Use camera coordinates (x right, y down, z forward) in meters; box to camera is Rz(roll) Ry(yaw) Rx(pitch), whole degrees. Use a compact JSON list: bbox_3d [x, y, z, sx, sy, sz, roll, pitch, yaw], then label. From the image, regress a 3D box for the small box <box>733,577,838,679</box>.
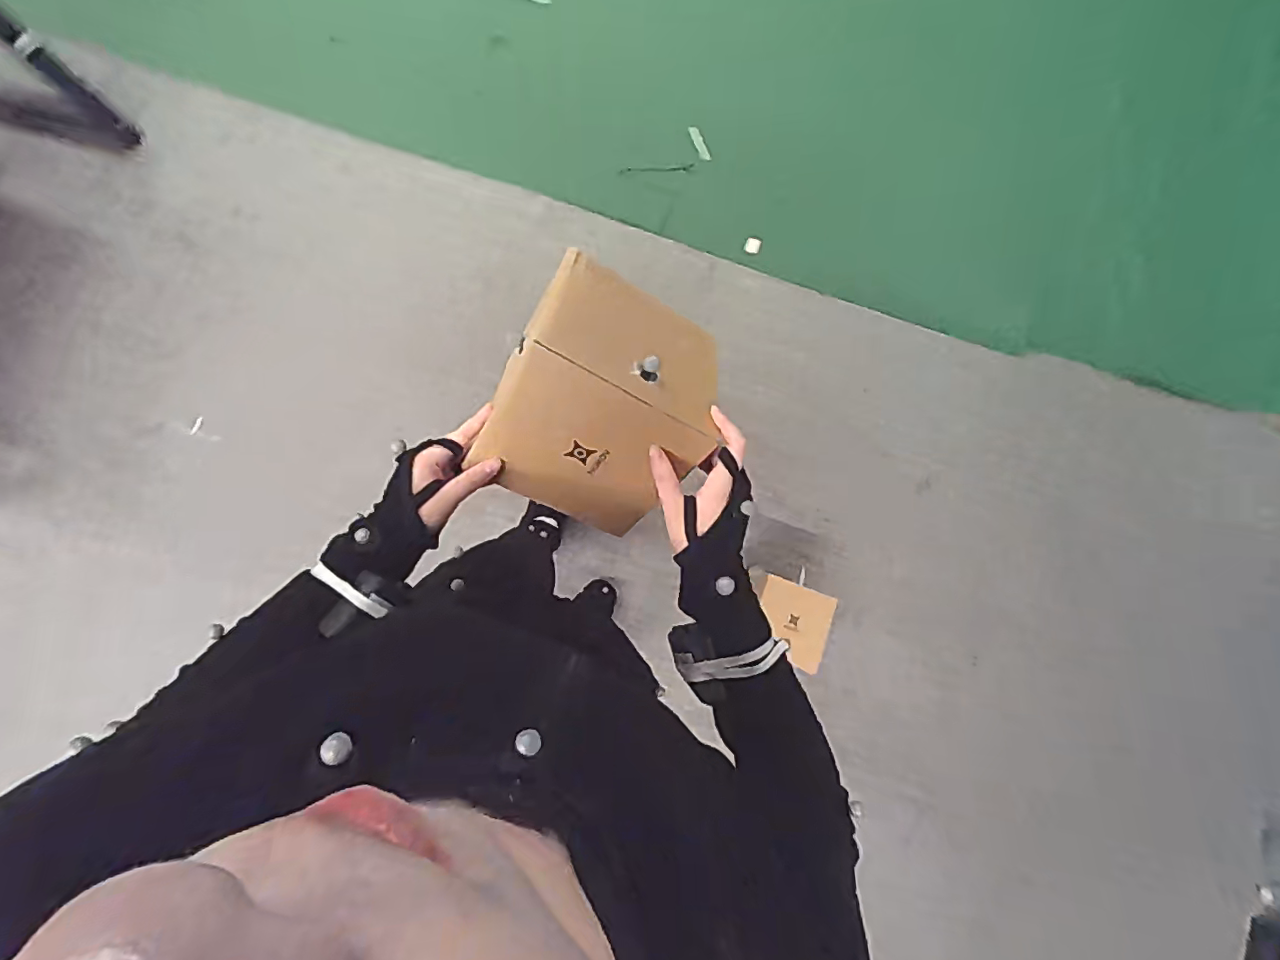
[{"bbox_3d":[0.331,0.336,1.268,0.168,0.176,0.179,22,82,1],"label":"small box"}]
